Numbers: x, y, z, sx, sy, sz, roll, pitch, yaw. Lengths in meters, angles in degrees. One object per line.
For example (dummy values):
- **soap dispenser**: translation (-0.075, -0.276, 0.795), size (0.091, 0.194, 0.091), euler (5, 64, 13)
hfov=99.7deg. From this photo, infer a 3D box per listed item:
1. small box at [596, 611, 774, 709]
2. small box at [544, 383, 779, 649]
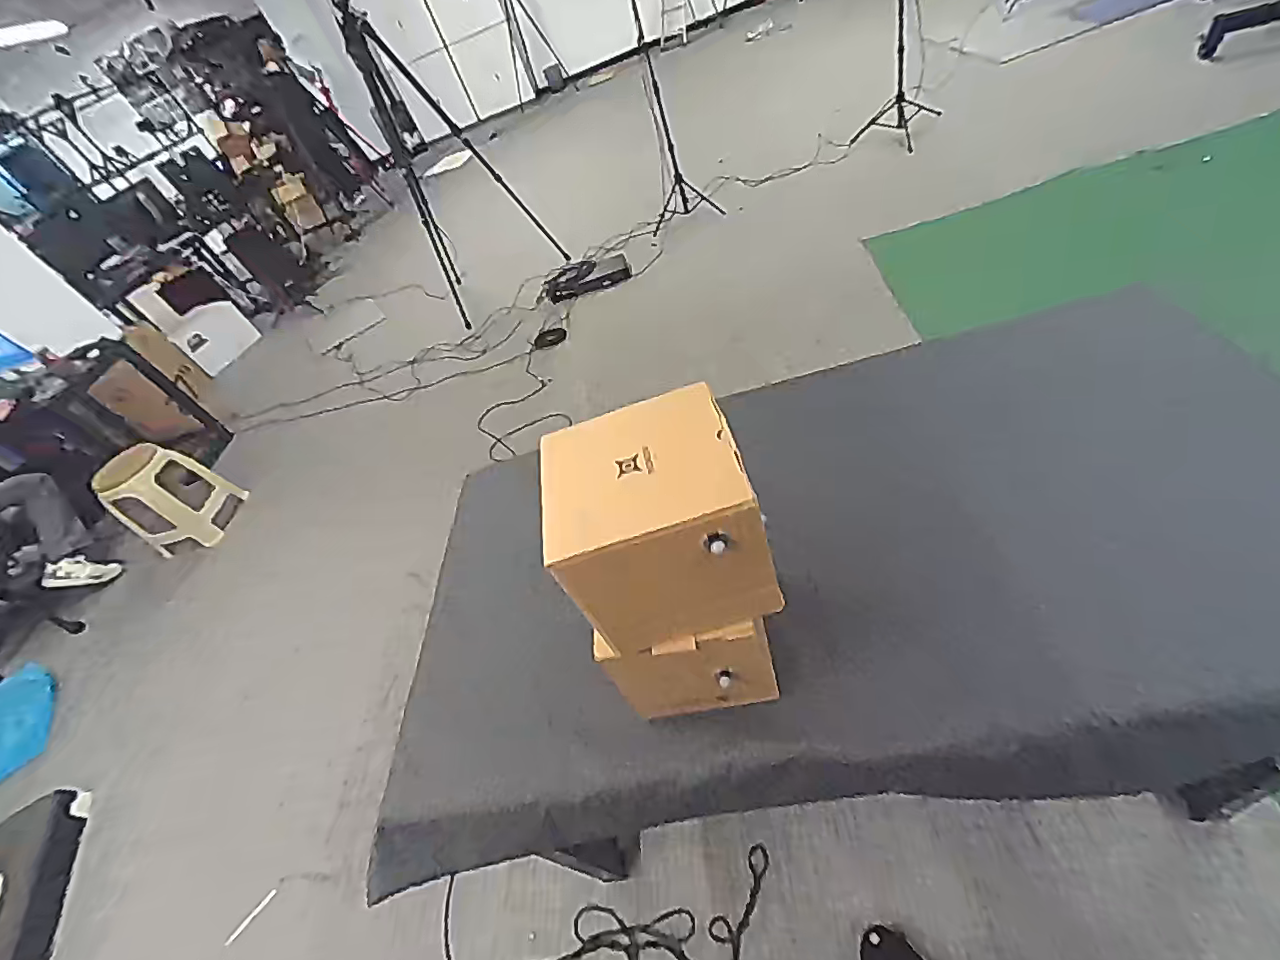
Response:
- **small box**: translation (0.055, 0.154, 0.640), size (0.168, 0.176, 0.179), euler (-13, 43, 11)
- **small box**: translation (0.020, 0.040, 0.528), size (0.179, 0.176, 0.168), euler (-18, 43, 6)
